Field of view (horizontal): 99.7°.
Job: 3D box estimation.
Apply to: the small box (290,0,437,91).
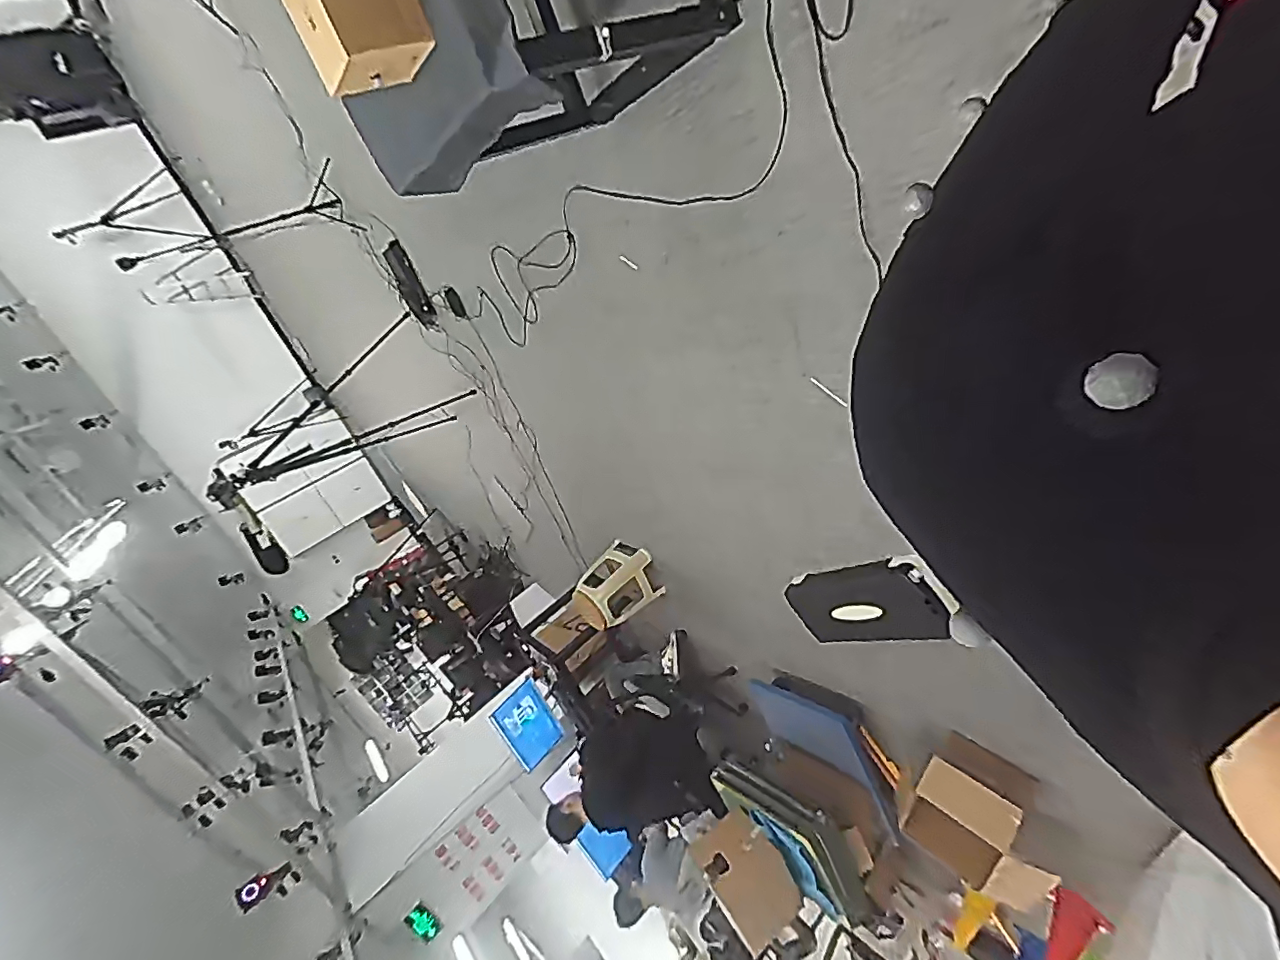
[{"bbox_3d":[-0.487,-0.828,0.948,0.168,0.176,0.179,14,132,51],"label":"small box"}]
